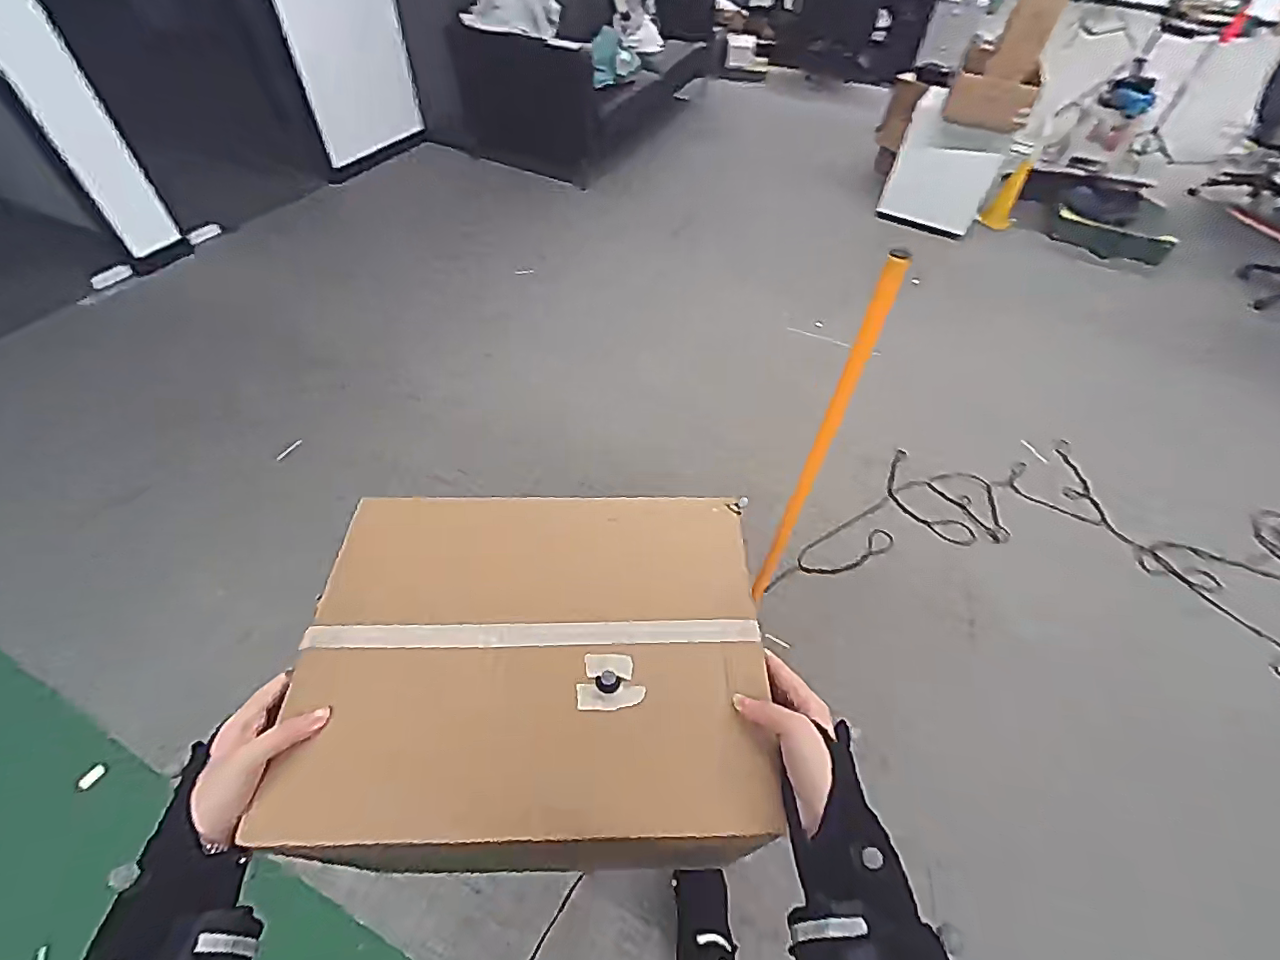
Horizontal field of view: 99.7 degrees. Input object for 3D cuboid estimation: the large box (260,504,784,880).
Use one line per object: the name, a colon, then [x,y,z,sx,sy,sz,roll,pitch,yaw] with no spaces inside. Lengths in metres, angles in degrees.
large box: [-0.099,0.242,0.616,0.408,0.320,0.320,0,51,-4]
